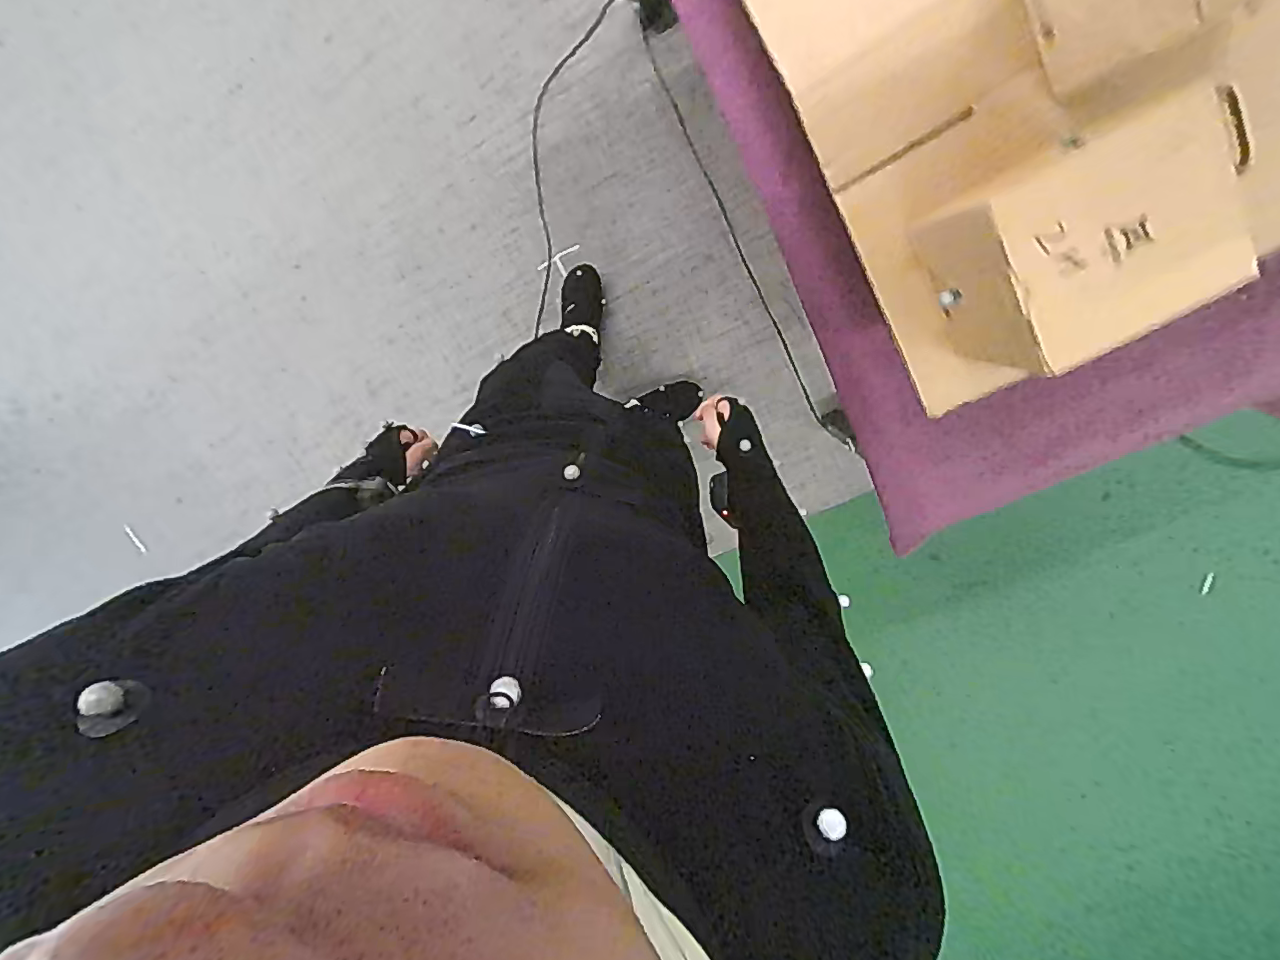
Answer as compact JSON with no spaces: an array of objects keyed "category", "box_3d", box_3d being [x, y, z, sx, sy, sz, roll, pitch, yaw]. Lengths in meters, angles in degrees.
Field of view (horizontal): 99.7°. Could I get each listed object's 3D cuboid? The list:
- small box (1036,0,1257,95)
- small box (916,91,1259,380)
[{"category":"small box","box_3d":[0.456,-0.463,0.439,0.179,0.176,0.168,-28,106,12]},{"category":"small box","box_3d":[0.409,-0.220,0.525,0.179,0.176,0.168,-27,104,12]}]
